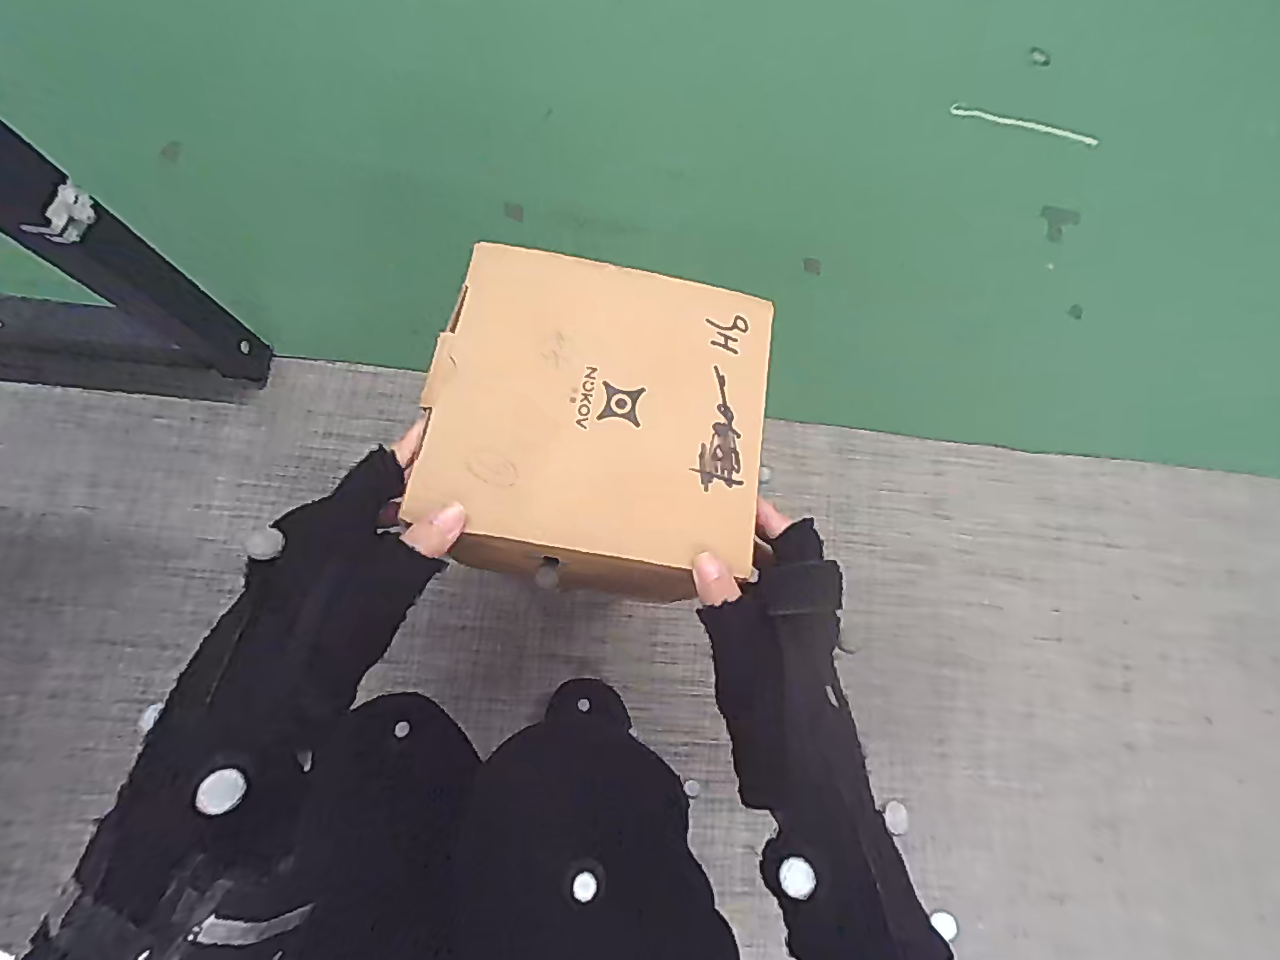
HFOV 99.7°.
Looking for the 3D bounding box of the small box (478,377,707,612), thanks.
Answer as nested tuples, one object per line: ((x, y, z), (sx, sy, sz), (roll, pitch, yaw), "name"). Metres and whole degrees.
((-0.045, 0.027, 0.535), (0.168, 0.176, 0.179), (13, 76, -4), "small box")
